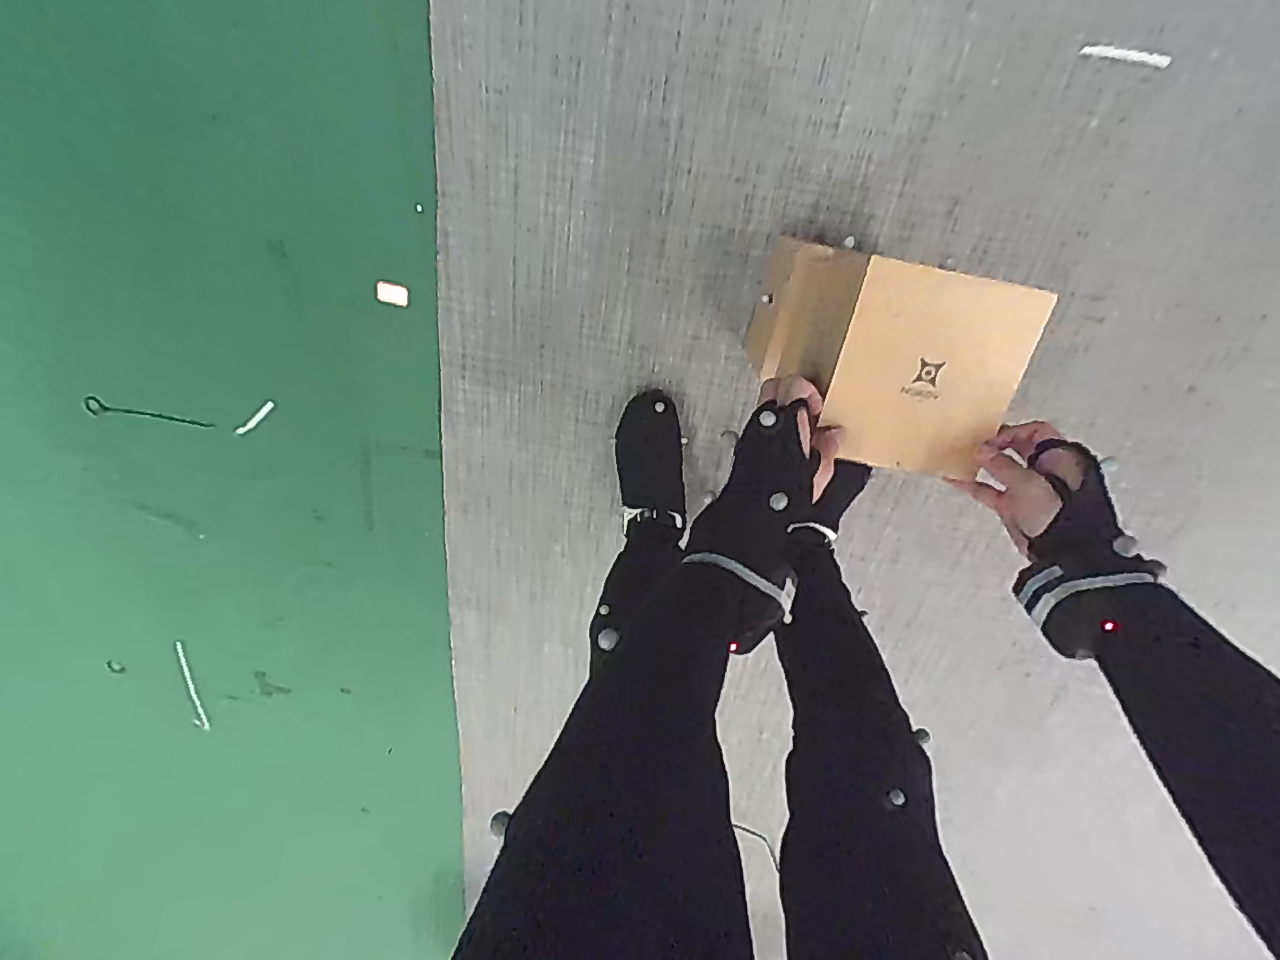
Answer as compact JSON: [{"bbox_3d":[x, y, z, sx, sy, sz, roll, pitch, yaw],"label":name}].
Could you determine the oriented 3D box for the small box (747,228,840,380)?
[{"bbox_3d":[0.255,-0.241,0.759,0.168,0.176,0.179,12,118,-3],"label":"small box"}]

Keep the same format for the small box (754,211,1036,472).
[{"bbox_3d":[0.240,-0.144,0.559,0.179,0.176,0.168,40,111,-15],"label":"small box"}]
